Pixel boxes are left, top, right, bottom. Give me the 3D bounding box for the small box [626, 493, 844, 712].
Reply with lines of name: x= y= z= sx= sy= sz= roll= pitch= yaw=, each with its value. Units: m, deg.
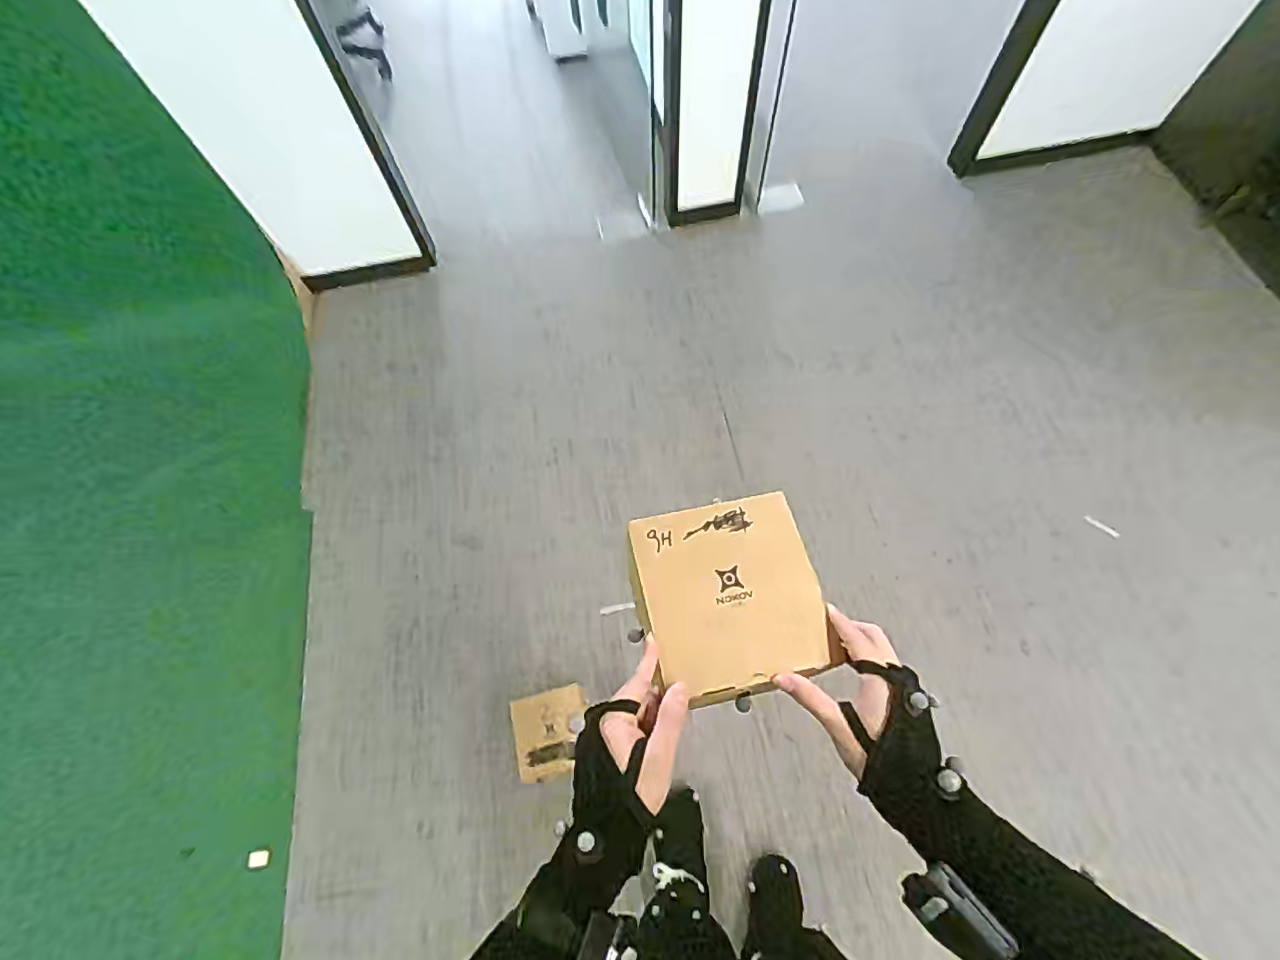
small box: x=0.084 y=0.137 z=0.572 sx=0.168 sy=0.176 sz=0.179 roll=-11 pitch=65 yaw=-6
